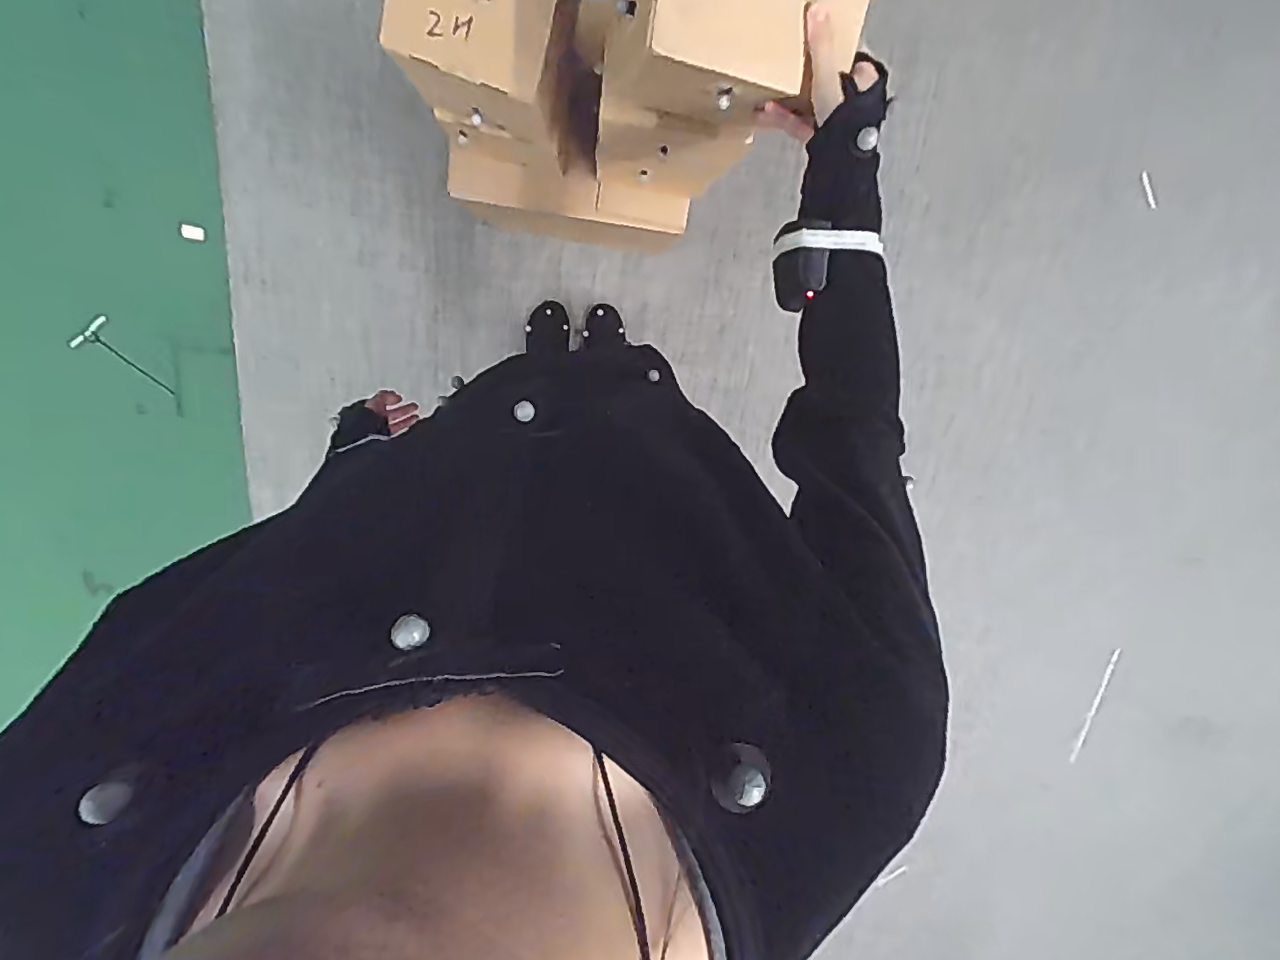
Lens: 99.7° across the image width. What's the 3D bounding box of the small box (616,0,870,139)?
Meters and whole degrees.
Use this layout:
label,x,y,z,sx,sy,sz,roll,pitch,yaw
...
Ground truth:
label,x,y,z,sx,sy,sz,roll,pitch,yaw
small box,0.084,-0.424,0.482,0.179,0.176,0.168,4,114,-17
